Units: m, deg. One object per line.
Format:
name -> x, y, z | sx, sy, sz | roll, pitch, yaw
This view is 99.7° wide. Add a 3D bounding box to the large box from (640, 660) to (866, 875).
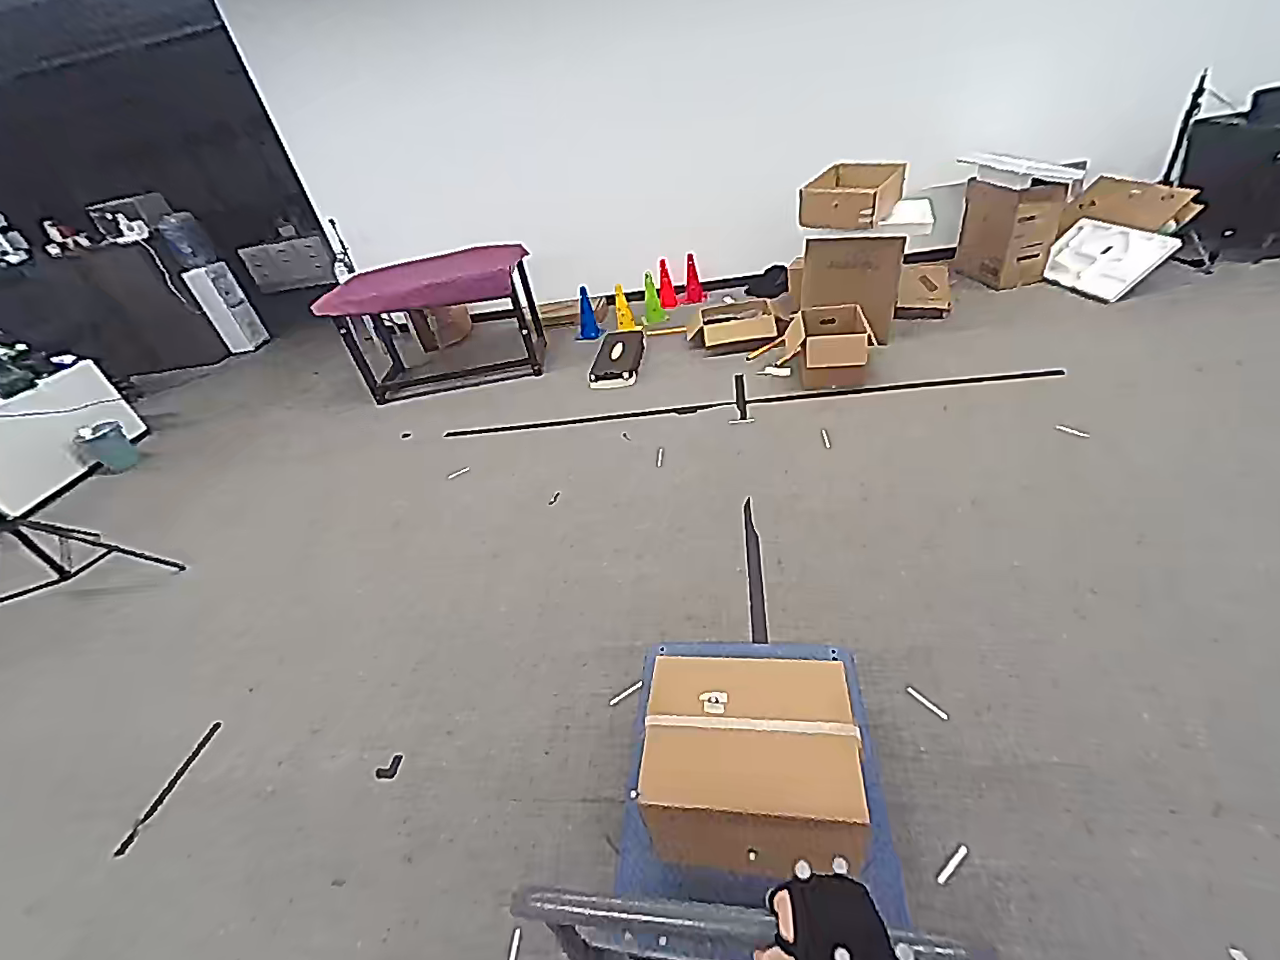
large box -> 0.239, 0.612, 1.165 | 0.408, 0.320, 0.320 | -4, 36, 13
